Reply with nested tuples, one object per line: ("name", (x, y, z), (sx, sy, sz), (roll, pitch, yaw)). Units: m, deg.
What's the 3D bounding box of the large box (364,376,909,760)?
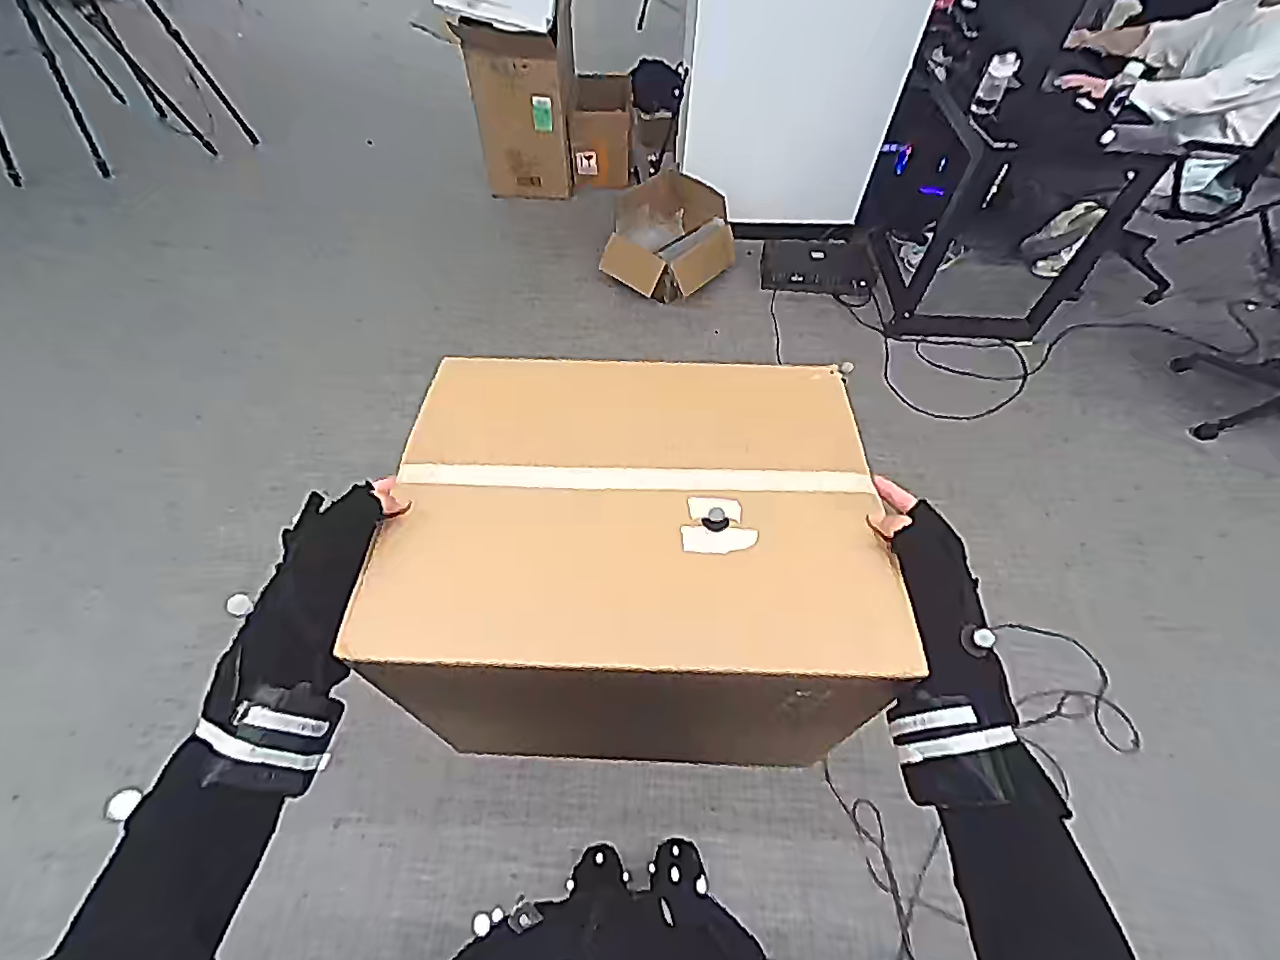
("large box", (-0.002, 0.105, 0.595), (0.408, 0.320, 0.320), (2, 52, 1))
